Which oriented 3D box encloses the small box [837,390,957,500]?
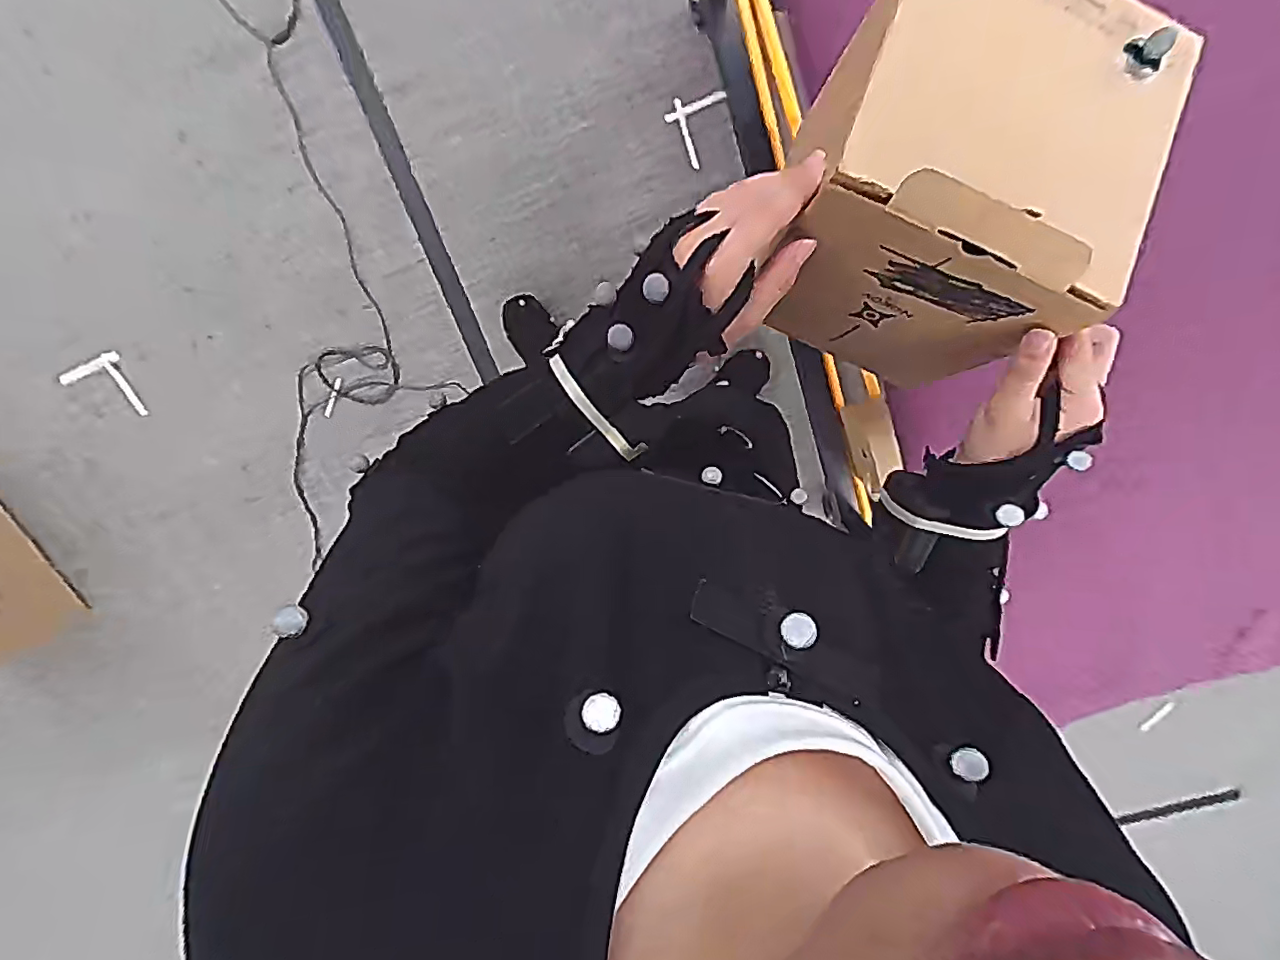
[{"bbox_3d":[0.542,-0.085,1.161,0.168,0.176,0.179,-19,108,7],"label":"small box"}]
